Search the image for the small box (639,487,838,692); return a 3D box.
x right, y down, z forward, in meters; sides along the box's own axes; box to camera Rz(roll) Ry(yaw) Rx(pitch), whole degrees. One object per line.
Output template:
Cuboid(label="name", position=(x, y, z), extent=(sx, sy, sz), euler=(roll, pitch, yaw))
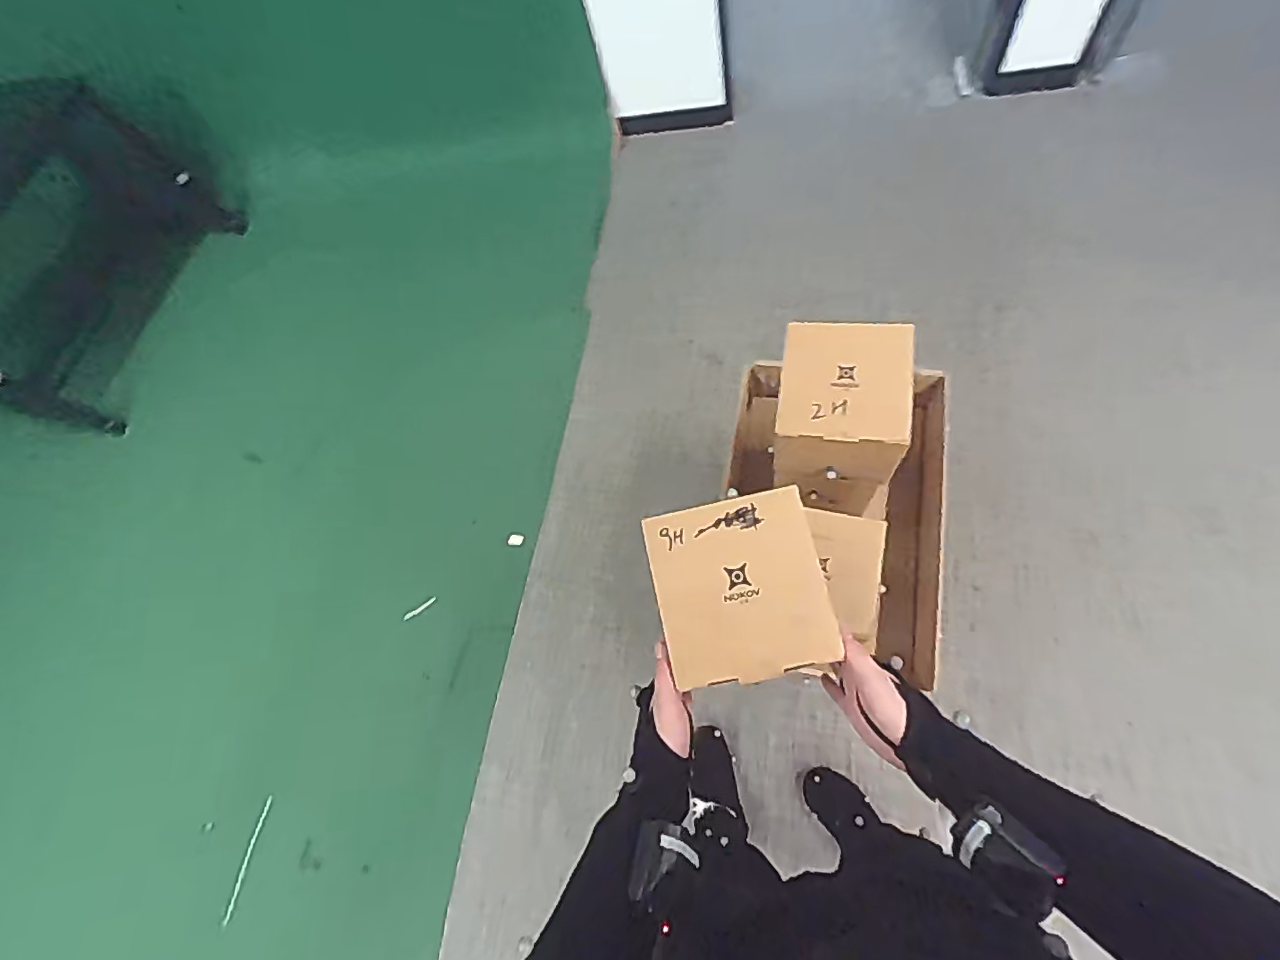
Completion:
Cuboid(label="small box", position=(0.104, 0.121, 0.612), extent=(0.168, 0.176, 0.179), euler=(-13, 76, 4))

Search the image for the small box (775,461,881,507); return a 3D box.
Cuboid(label="small box", position=(0.331, -0.068, 0.945), extent=(0.168, 0.176, 0.179), euler=(8, 74, 16))

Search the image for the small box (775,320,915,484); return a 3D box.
Cuboid(label="small box", position=(0.290, -0.109, 0.790), extent=(0.168, 0.176, 0.179), euler=(6, 73, 16))

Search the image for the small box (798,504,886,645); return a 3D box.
Cuboid(label="small box", position=(0.280, 0.154, 0.863), extent=(0.168, 0.176, 0.179), euler=(11, 71, 17))
